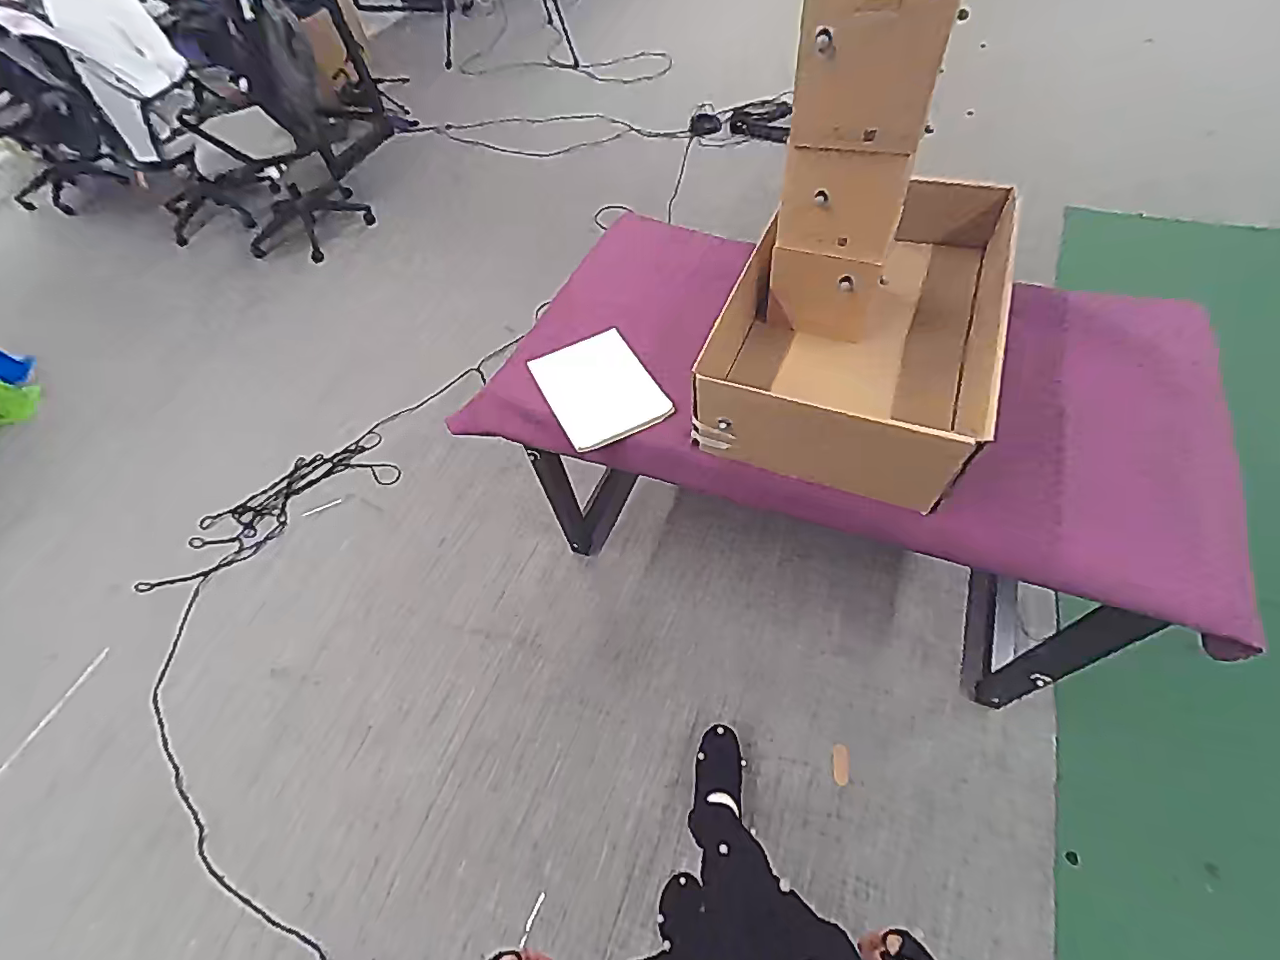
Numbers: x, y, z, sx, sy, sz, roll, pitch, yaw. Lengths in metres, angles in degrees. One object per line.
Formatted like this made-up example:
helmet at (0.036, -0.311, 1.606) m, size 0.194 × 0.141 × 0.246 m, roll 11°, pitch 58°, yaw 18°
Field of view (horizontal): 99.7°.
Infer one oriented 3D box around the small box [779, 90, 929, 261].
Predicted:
small box at (0.322, -0.469, 0.840) m, size 0.168 × 0.176 × 0.179 m, roll 19°, pitch 61°, yaw 19°
